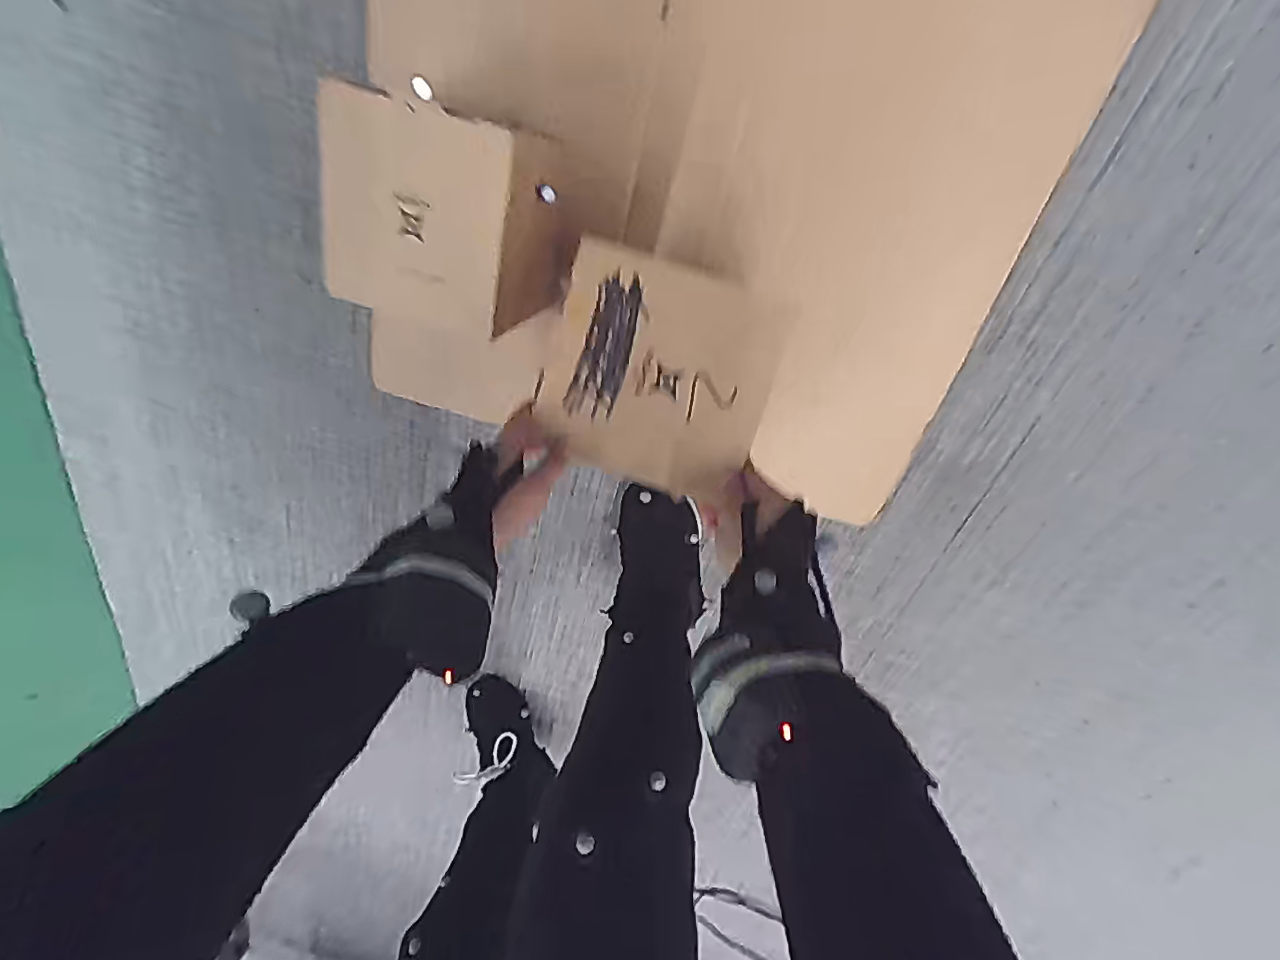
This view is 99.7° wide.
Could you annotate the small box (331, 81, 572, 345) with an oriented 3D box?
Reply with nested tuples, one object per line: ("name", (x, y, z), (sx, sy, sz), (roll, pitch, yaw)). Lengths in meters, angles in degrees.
("small box", (-0.176, -0.259, 0.539), (0.168, 0.176, 0.179), (17, 120, 2))
